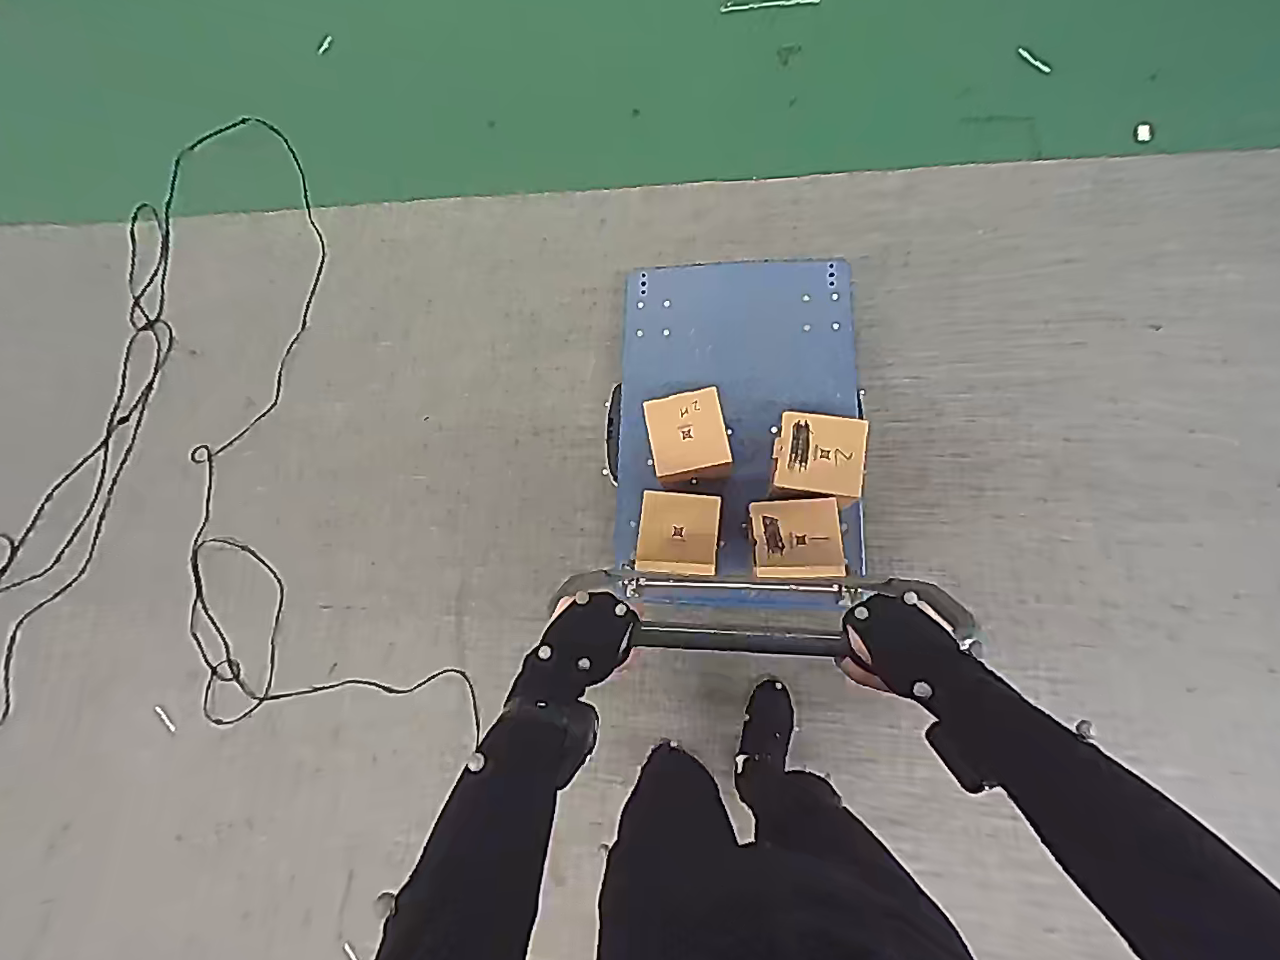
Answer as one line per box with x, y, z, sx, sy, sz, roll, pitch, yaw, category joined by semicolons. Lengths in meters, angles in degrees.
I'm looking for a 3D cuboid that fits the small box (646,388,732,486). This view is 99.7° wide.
0.116;-0.090;1.244;0.168;0.176;0.179;-11;78;5;small box
